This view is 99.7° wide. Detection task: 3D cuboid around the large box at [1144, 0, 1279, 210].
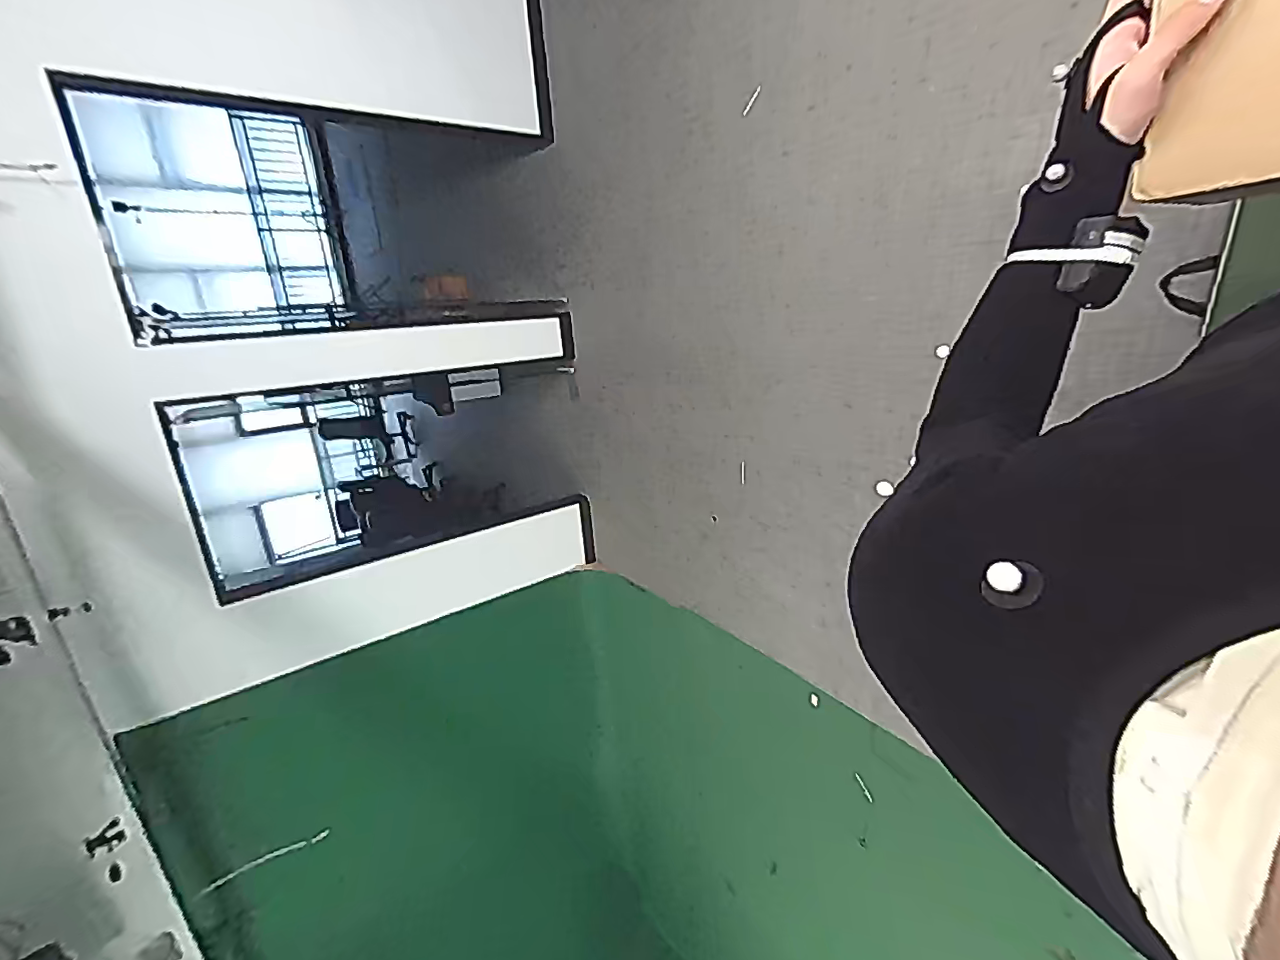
[{"bbox_3d":[0.627,-0.389,0.340,0.408,0.320,0.320,12,115,49],"label":"large box"}]
